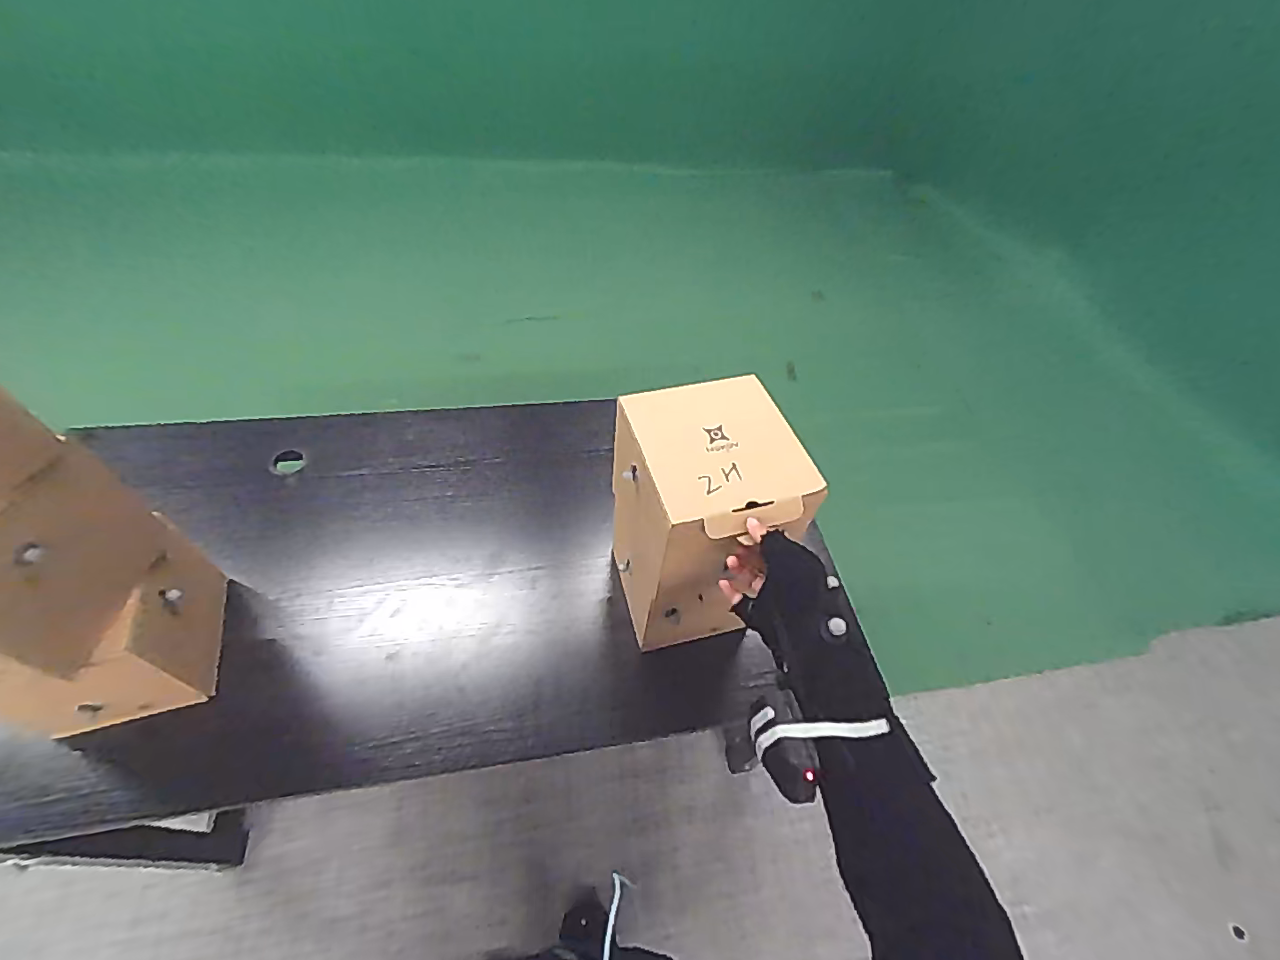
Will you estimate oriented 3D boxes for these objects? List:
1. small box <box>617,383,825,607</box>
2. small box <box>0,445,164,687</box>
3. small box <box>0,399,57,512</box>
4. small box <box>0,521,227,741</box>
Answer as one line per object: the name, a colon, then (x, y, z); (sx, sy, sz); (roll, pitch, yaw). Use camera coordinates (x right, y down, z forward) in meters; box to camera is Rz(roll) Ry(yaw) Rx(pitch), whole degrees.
small box: (0.074, 0.017, 0.619); (0.168, 0.176, 0.179); (-12, 55, -14)
small box: (-0.610, 0.078, 0.502); (0.168, 0.176, 0.179); (6, 52, -3)
small box: (-0.598, -0.026, 0.375); (0.168, 0.176, 0.179); (15, 54, 3)
small box: (-0.621, 0.177, 0.633); (0.168, 0.176, 0.179); (-12, 56, -15)
